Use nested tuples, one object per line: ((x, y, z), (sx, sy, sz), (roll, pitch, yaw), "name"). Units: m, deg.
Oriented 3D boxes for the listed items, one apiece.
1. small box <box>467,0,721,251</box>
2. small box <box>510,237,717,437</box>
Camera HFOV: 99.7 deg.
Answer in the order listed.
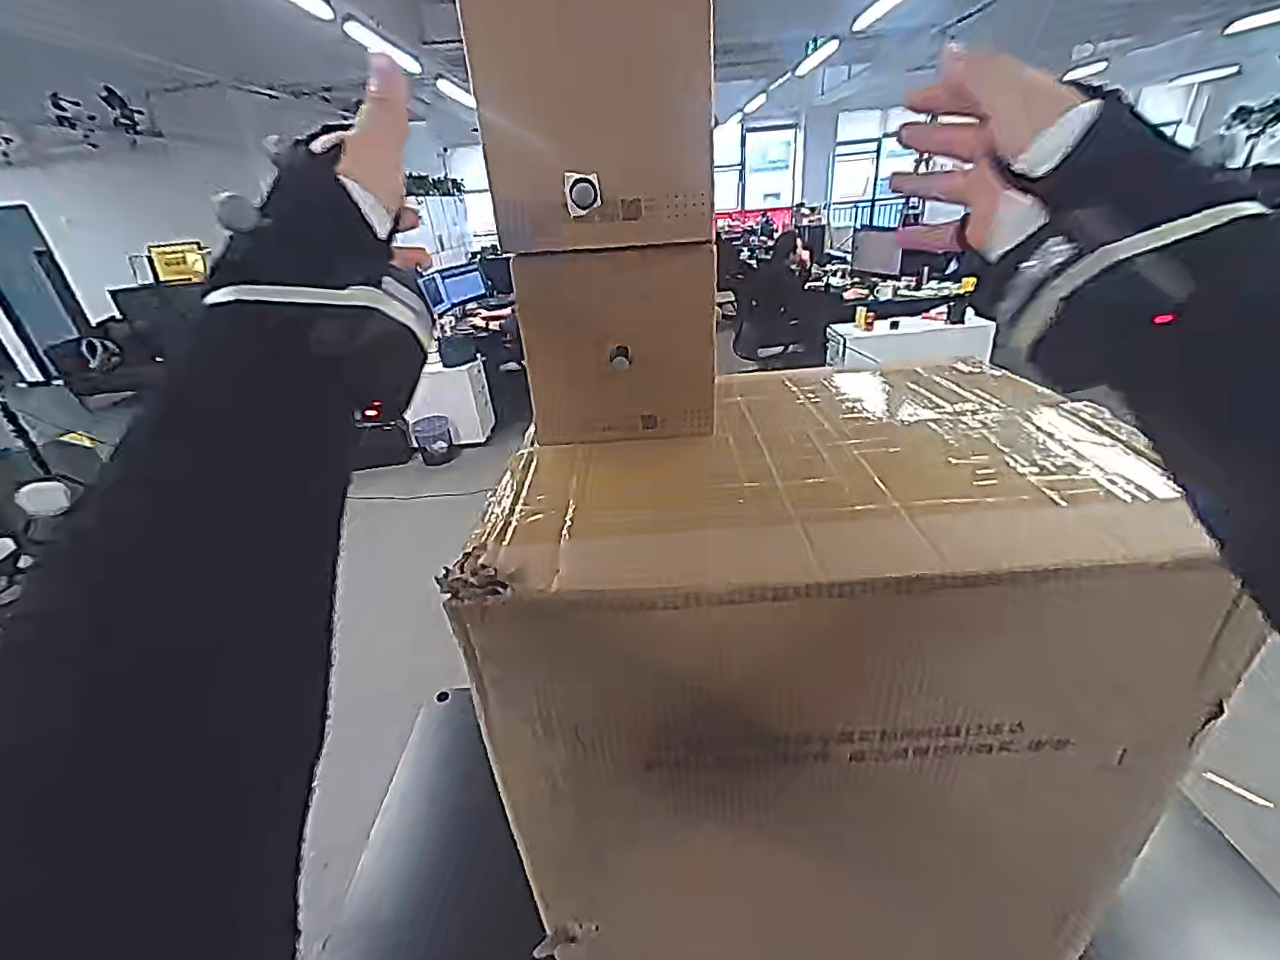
((-0.024, -0.285, 0.442), (0.168, 0.176, 0.179), (-4, 27, 3), "small box")
((-0.016, -0.146, 0.530), (0.168, 0.176, 0.179), (-3, 27, 1), "small box")
